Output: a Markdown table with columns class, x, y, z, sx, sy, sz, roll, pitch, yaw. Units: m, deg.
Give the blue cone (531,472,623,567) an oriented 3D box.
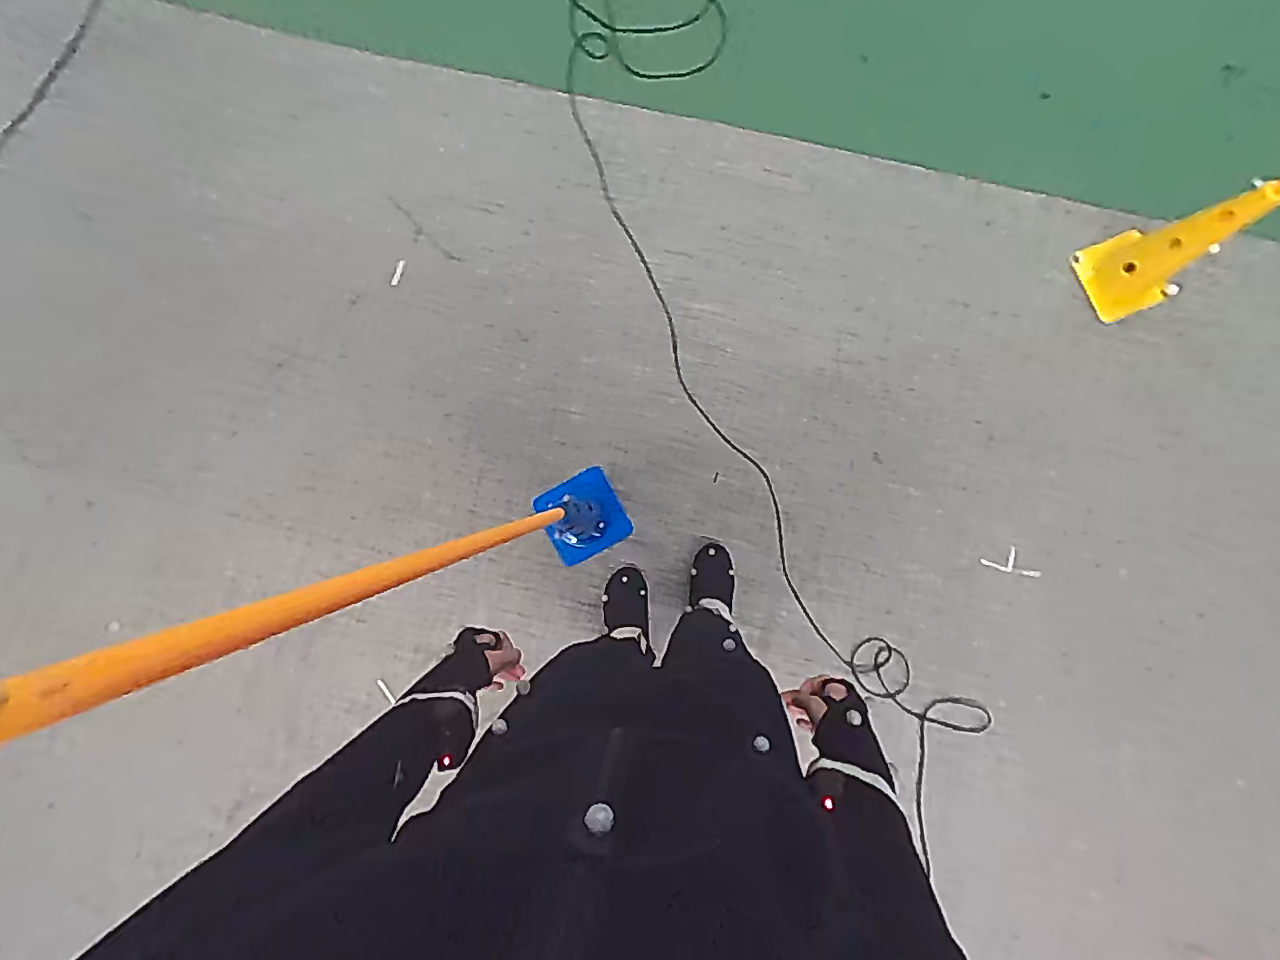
| class | x | y | z | sx | sy | sz | roll | pitch | yaw |
| --- | --- | --- | --- | --- | --- | --- | --- | --- | --- |
| blue cone | -0.161 | 0.090 | 1.167 | 0.193 | 0.380 | 0.192 | -31 | 86 | 0 |
